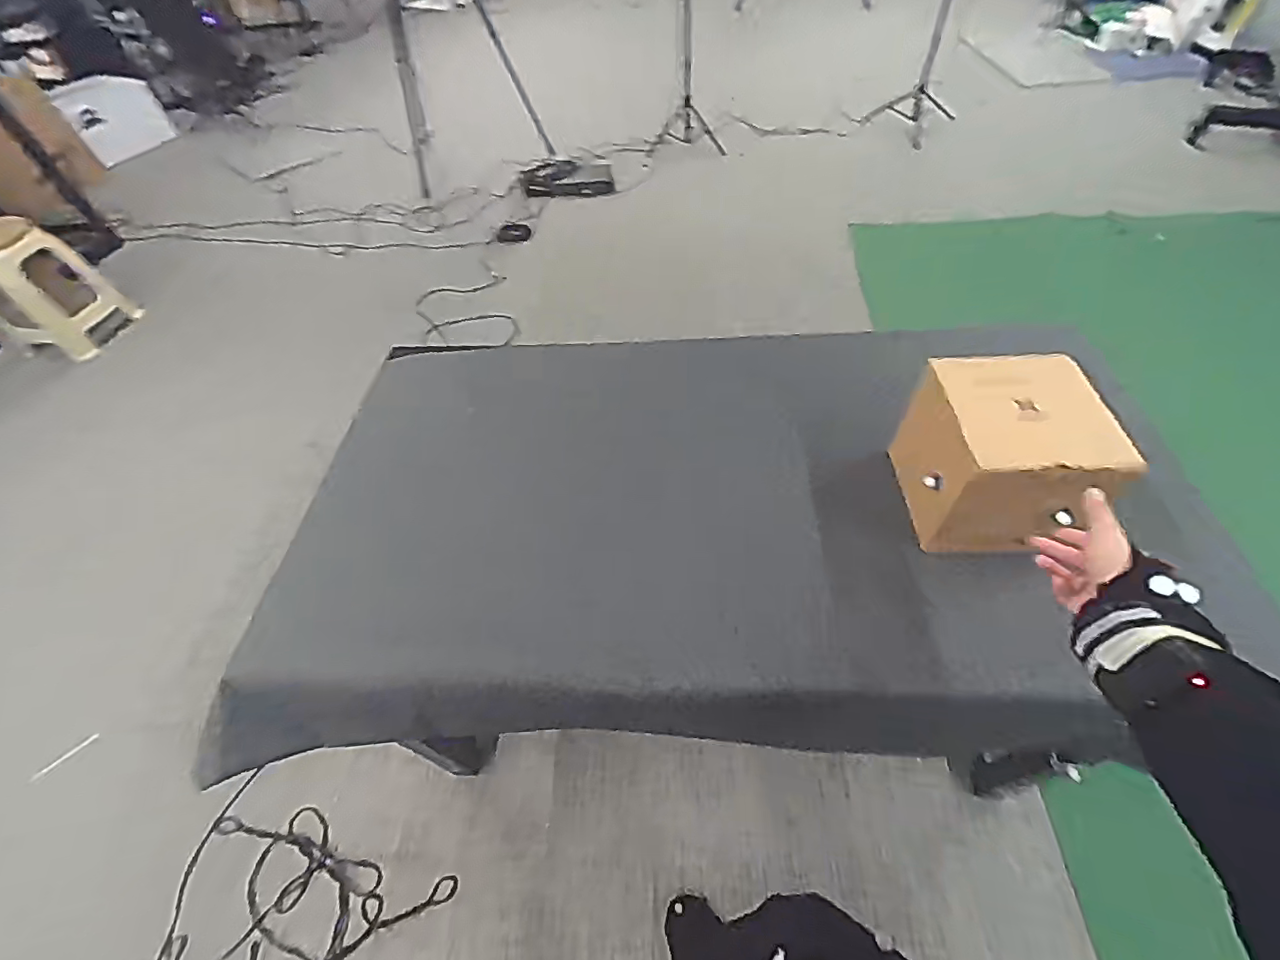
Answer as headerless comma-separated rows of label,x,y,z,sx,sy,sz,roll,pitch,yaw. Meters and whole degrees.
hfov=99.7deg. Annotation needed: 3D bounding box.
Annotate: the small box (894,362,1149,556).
small box,0.432,-0.020,0.653,0.168,0.176,0.179,-1,50,3
